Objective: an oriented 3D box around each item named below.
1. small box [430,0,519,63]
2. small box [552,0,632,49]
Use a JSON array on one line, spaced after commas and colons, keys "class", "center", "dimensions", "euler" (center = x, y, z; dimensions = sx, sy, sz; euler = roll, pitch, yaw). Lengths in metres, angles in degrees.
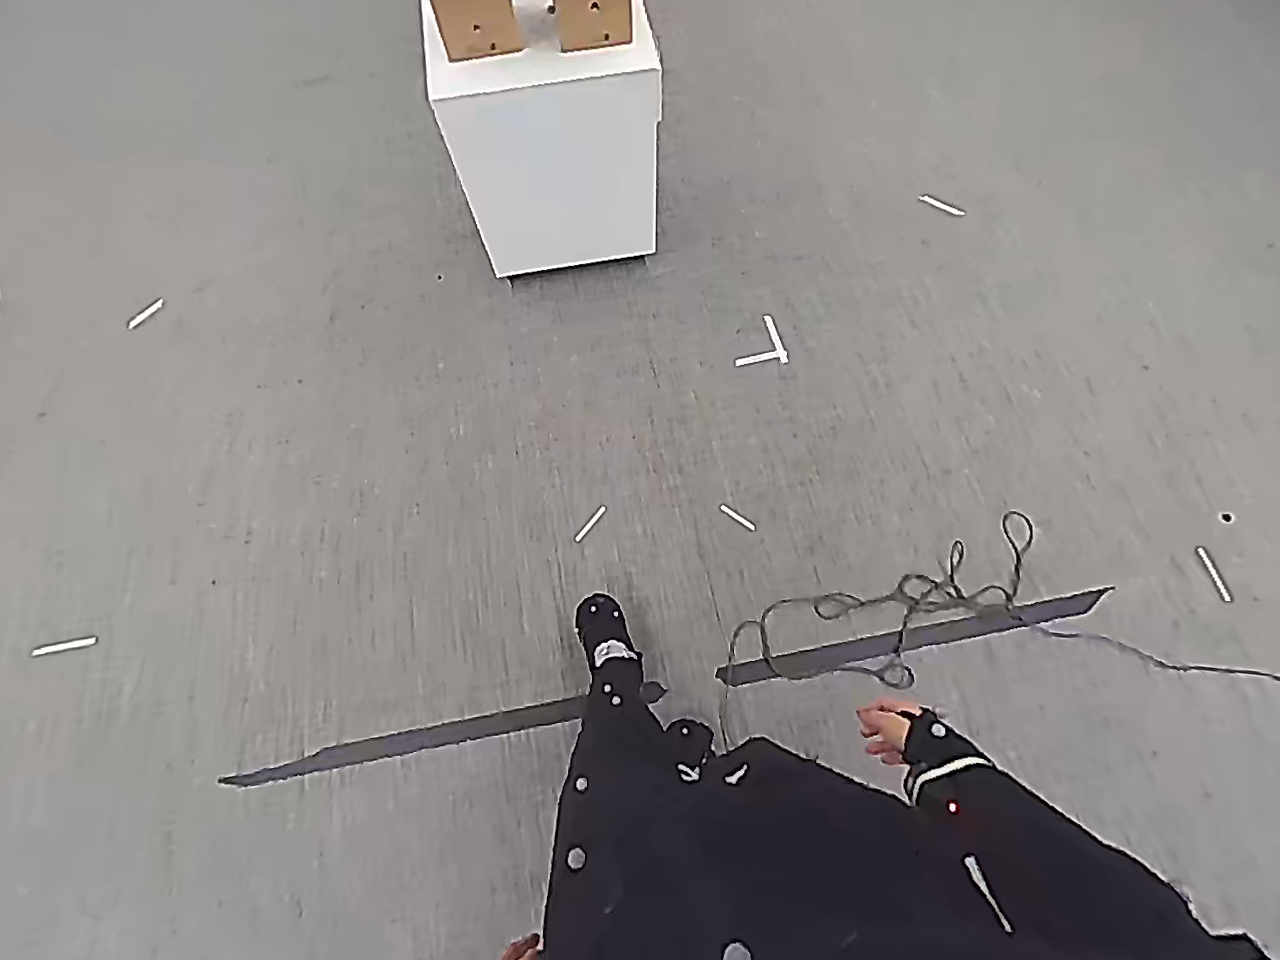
[{"class": "small box", "center": [-0.367, -1.052, 1.167], "dimensions": [0.168, 0.176, 0.179], "euler": [-12, 70, -4]}, {"class": "small box", "center": [-0.113, -1.077, 1.173], "dimensions": [0.168, 0.176, 0.179], "euler": [-10, 71, -1]}]
